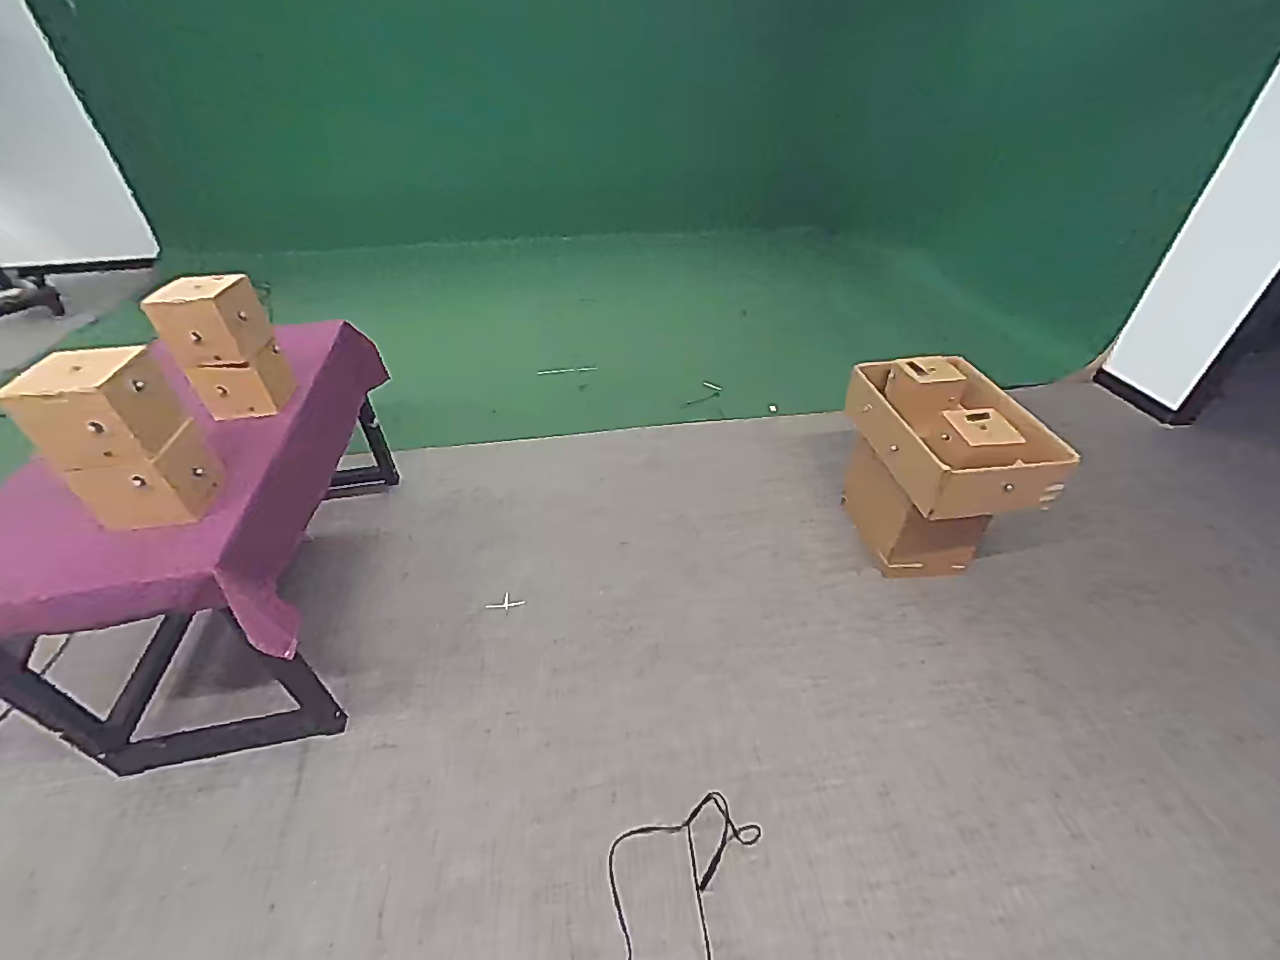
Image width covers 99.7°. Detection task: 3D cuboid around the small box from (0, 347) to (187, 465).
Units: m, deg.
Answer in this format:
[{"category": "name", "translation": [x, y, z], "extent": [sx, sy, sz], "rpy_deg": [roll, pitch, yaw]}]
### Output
[{"category": "small box", "translation": [-1.047, -0.140, 1.060], "extent": [0.168, 0.176, 0.179], "rpy_deg": [-7, 40, -7]}]

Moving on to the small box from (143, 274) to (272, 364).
[{"category": "small box", "translation": [-1.085, -0.406, 1.378], "extent": [0.168, 0.176, 0.179], "rpy_deg": [-4, 40, -3]}]

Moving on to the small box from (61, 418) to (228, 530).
[{"category": "small box", "translation": [-1.041, -0.012, 1.161], "extent": [0.179, 0.176, 0.168], "rpy_deg": [-7, 40, -5]}]

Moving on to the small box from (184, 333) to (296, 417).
[{"category": "small box", "translation": [-1.085, -0.283, 1.488], "extent": [0.168, 0.176, 0.179], "rpy_deg": [-8, 40, -7]}]
